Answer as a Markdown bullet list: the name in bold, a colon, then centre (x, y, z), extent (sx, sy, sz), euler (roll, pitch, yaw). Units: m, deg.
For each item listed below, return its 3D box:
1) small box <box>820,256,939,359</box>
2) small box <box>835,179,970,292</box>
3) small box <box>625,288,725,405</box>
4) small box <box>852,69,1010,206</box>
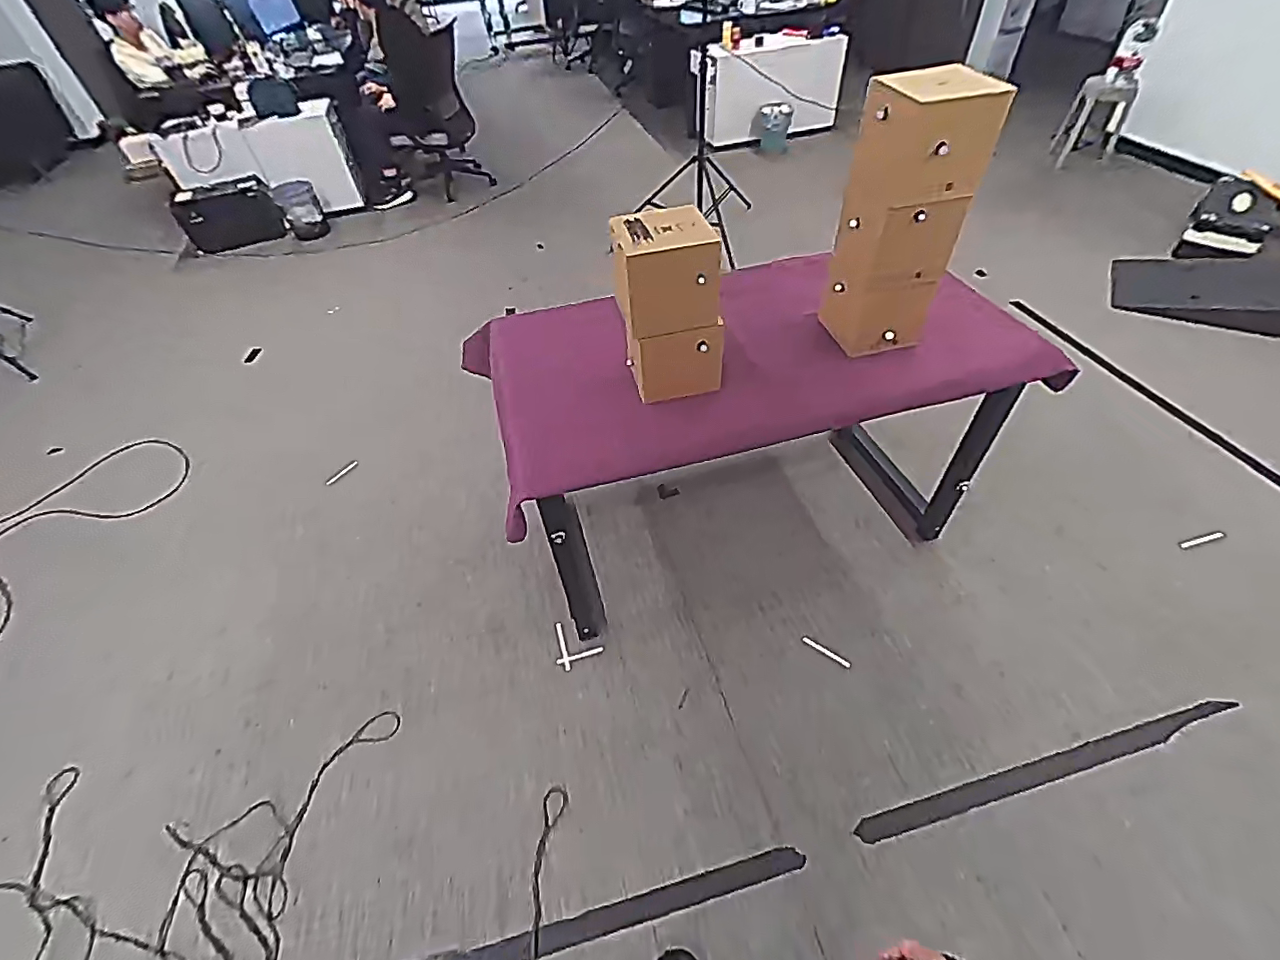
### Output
- **small box**: centre (0.530, -0.402, 1.229), extent (0.168, 0.176, 0.179), euler (-12, 49, -5)
- **small box**: centre (0.520, -0.508, 1.104), extent (0.168, 0.176, 0.179), euler (-11, 47, -4)
- **small box**: centre (0.072, -0.285, 1.165), extent (0.179, 0.176, 0.168), euler (-12, 48, -5)
- **small box**: centre (0.511, -0.612, 0.978), extent (0.168, 0.176, 0.179), euler (-11, 48, -4)
